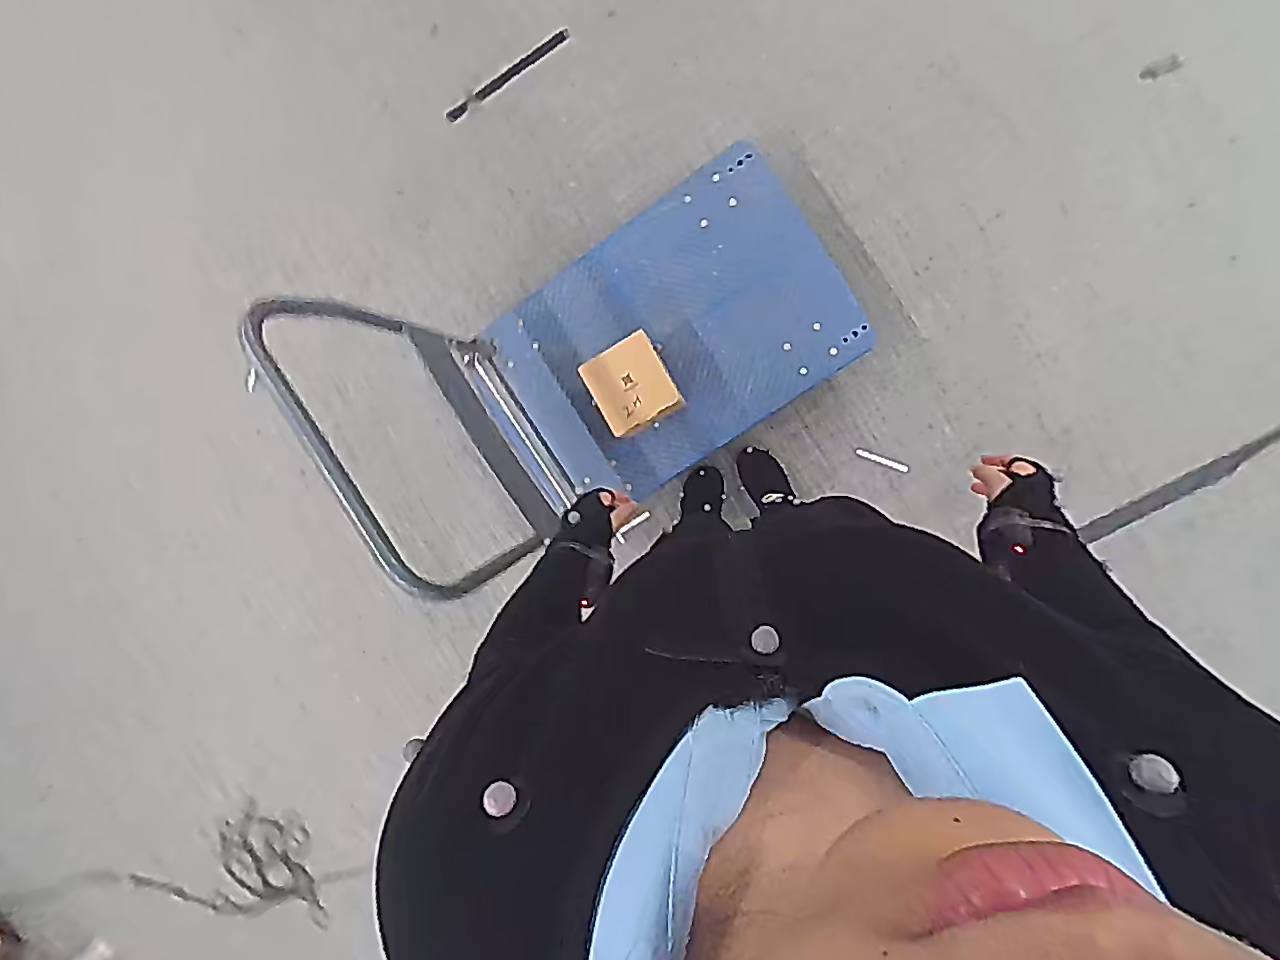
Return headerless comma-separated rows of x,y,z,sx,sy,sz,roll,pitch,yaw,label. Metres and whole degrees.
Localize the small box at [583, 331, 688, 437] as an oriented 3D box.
-0.004,-0.209,1.232,0.168,0.176,0.179,-30,89,9,small box
